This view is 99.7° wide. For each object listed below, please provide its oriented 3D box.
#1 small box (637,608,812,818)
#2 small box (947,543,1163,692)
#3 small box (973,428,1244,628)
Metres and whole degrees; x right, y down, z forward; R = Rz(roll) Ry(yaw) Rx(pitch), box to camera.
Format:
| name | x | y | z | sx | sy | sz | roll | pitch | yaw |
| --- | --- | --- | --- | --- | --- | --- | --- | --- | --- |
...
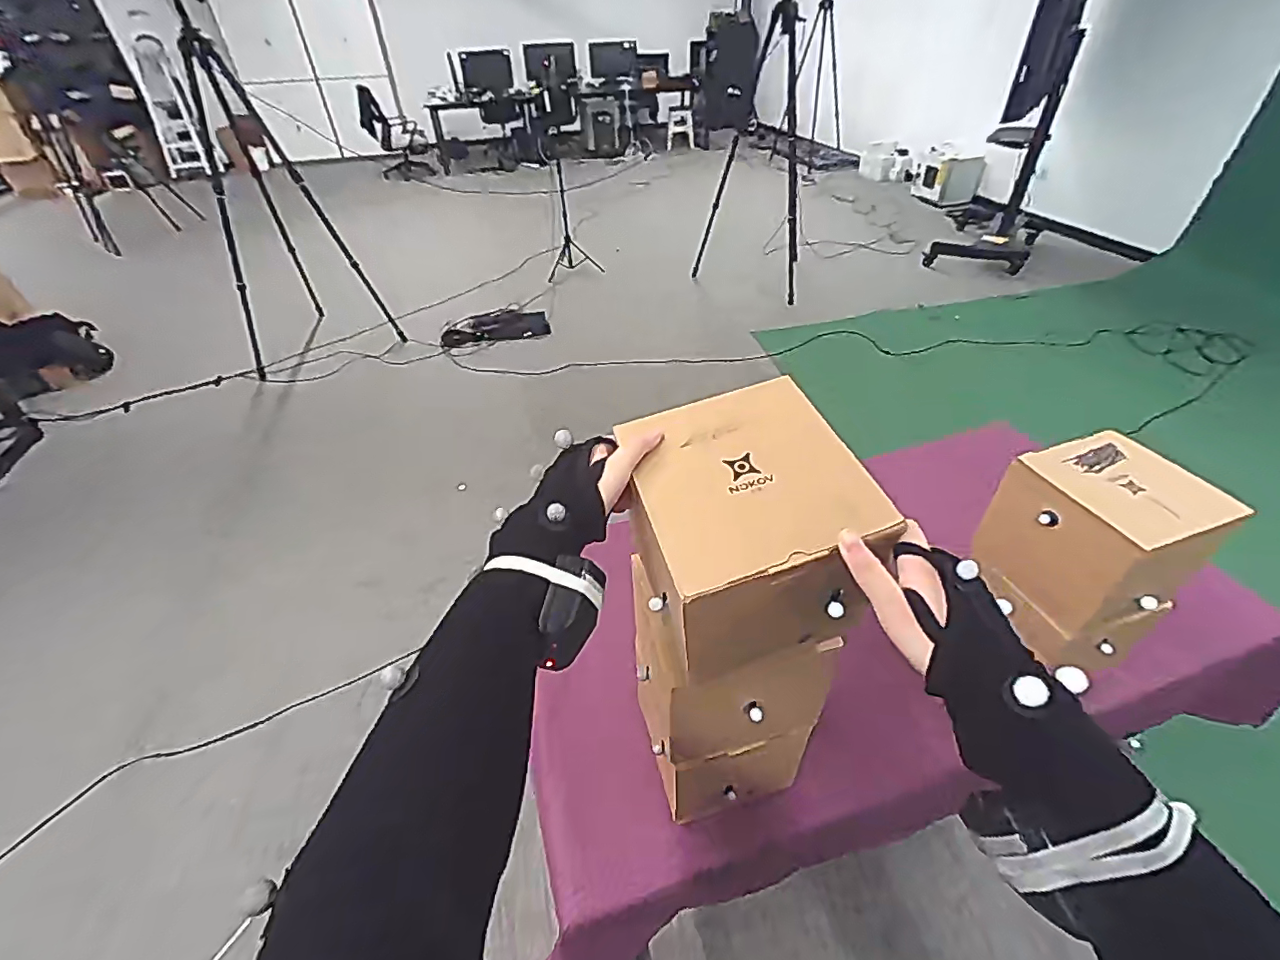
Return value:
| name | x | y | z | sx | sy | sz | roll | pitch | yaw |
| --- | --- | --- | --- | --- | --- | --- | --- | --- | --- |
| small box | 0.098 | 0.305 | 0.714 | 0.168 | 0.176 | 0.179 | -13 | 43 | -11 |
| small box | 0.597 | 0.189 | 0.812 | 0.179 | 0.176 | 0.168 | -13 | 42 | -11 |
| small box | 0.587 | 0.060 | 0.710 | 0.168 | 0.176 | 0.179 | -15 | 43 | -13 |
